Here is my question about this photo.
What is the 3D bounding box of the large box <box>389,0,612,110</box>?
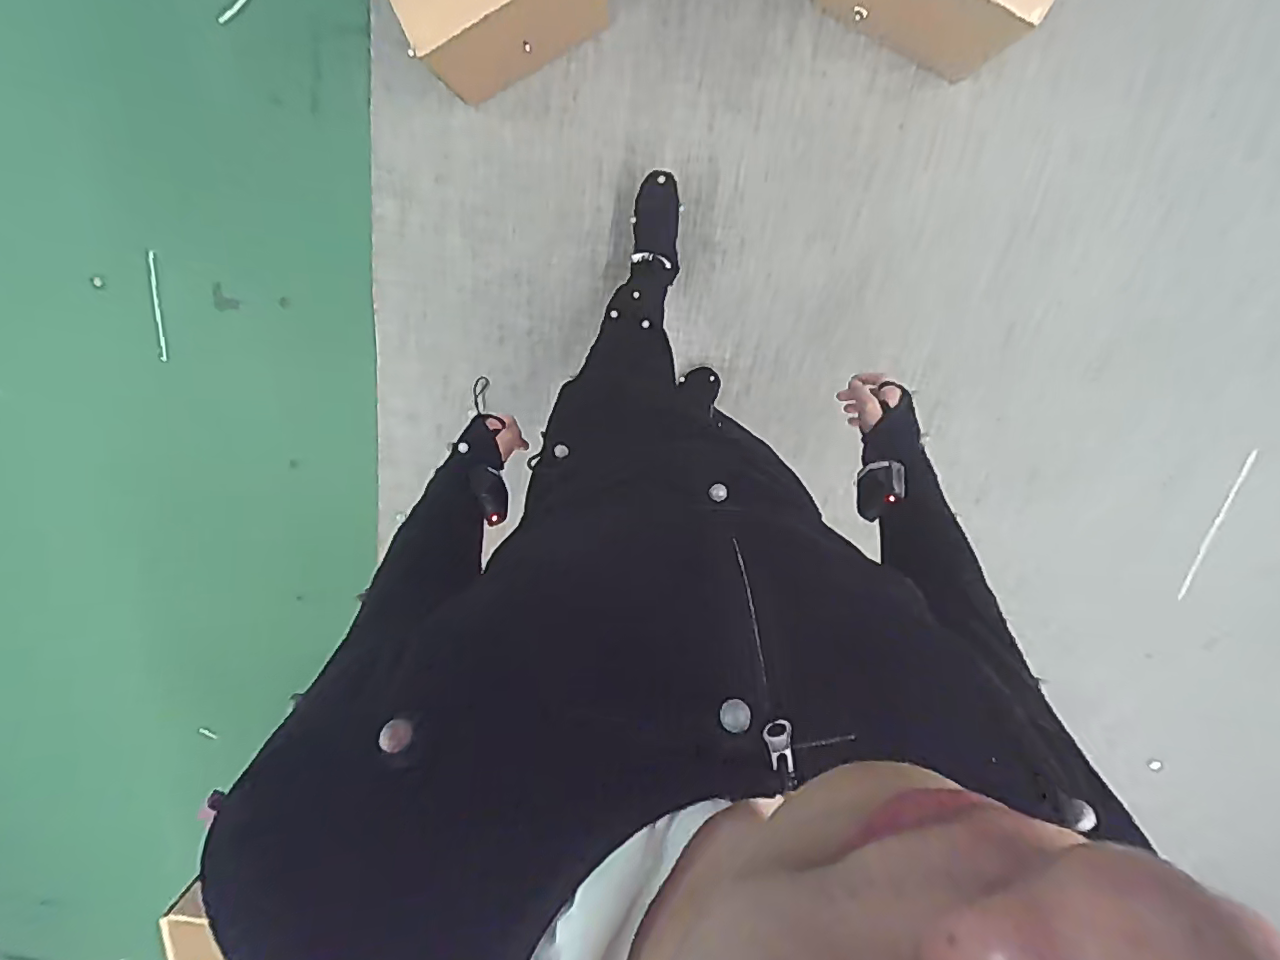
[{"bbox_3d":[-0.318,-1.097,1.159,0.408,0.320,0.320,-23,104,12],"label":"large box"}]
